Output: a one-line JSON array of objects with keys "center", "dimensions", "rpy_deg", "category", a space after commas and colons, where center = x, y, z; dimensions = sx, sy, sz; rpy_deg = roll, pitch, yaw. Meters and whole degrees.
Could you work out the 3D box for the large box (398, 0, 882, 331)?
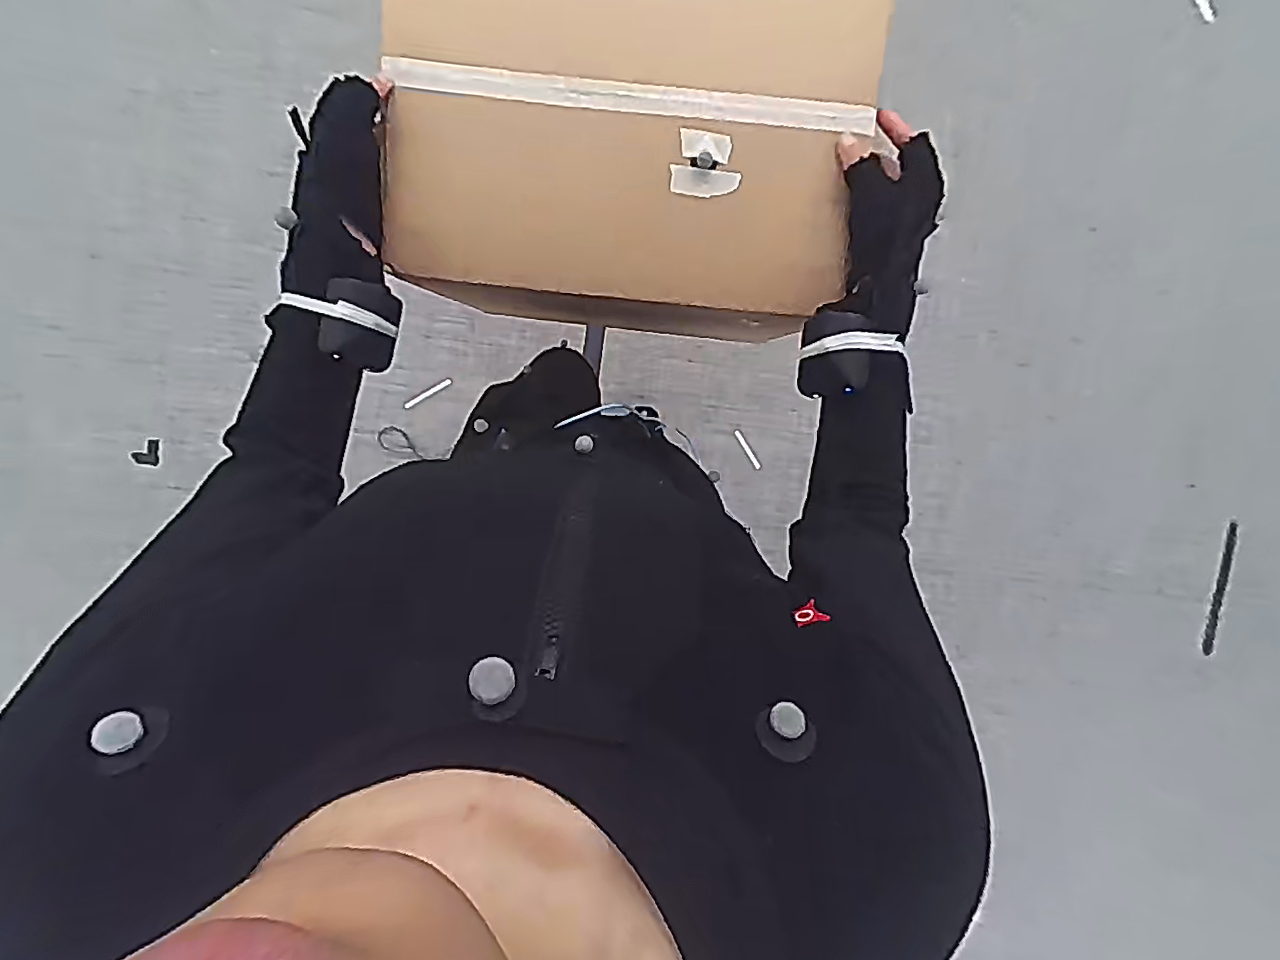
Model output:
[{"center": [-0.008, -0.351, 0.604], "dimensions": [0.408, 0.320, 0.320], "rpy_deg": [5, 102, -1], "category": "large box"}]
